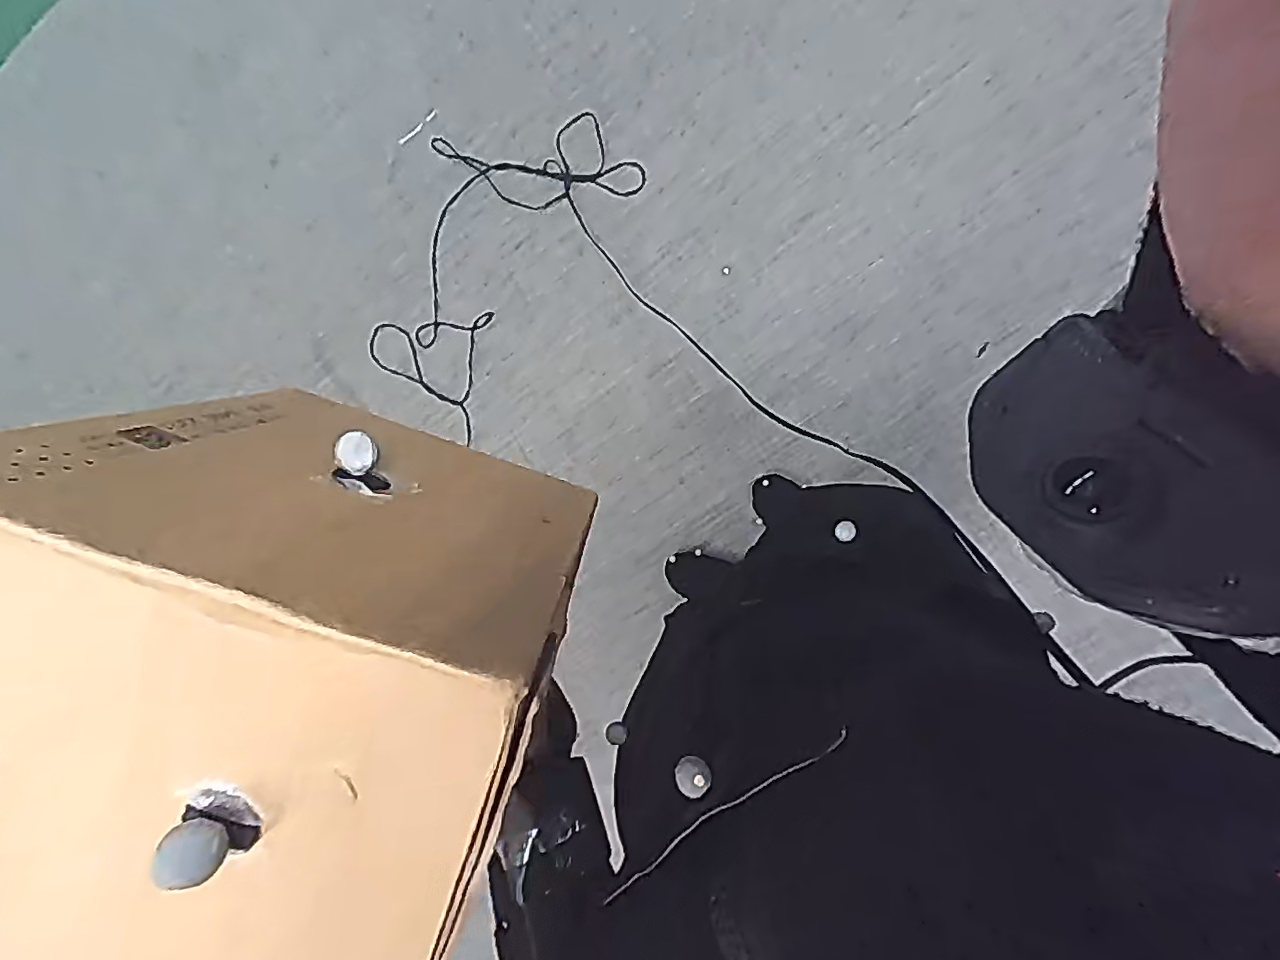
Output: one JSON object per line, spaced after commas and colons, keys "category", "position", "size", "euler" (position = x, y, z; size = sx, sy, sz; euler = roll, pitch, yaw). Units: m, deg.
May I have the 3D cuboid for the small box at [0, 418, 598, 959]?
{"category": "small box", "position": [-0.129, 0.081, 0.235], "size": [0.176, 0.168, 0.179], "euler": [19, 104, -3]}
